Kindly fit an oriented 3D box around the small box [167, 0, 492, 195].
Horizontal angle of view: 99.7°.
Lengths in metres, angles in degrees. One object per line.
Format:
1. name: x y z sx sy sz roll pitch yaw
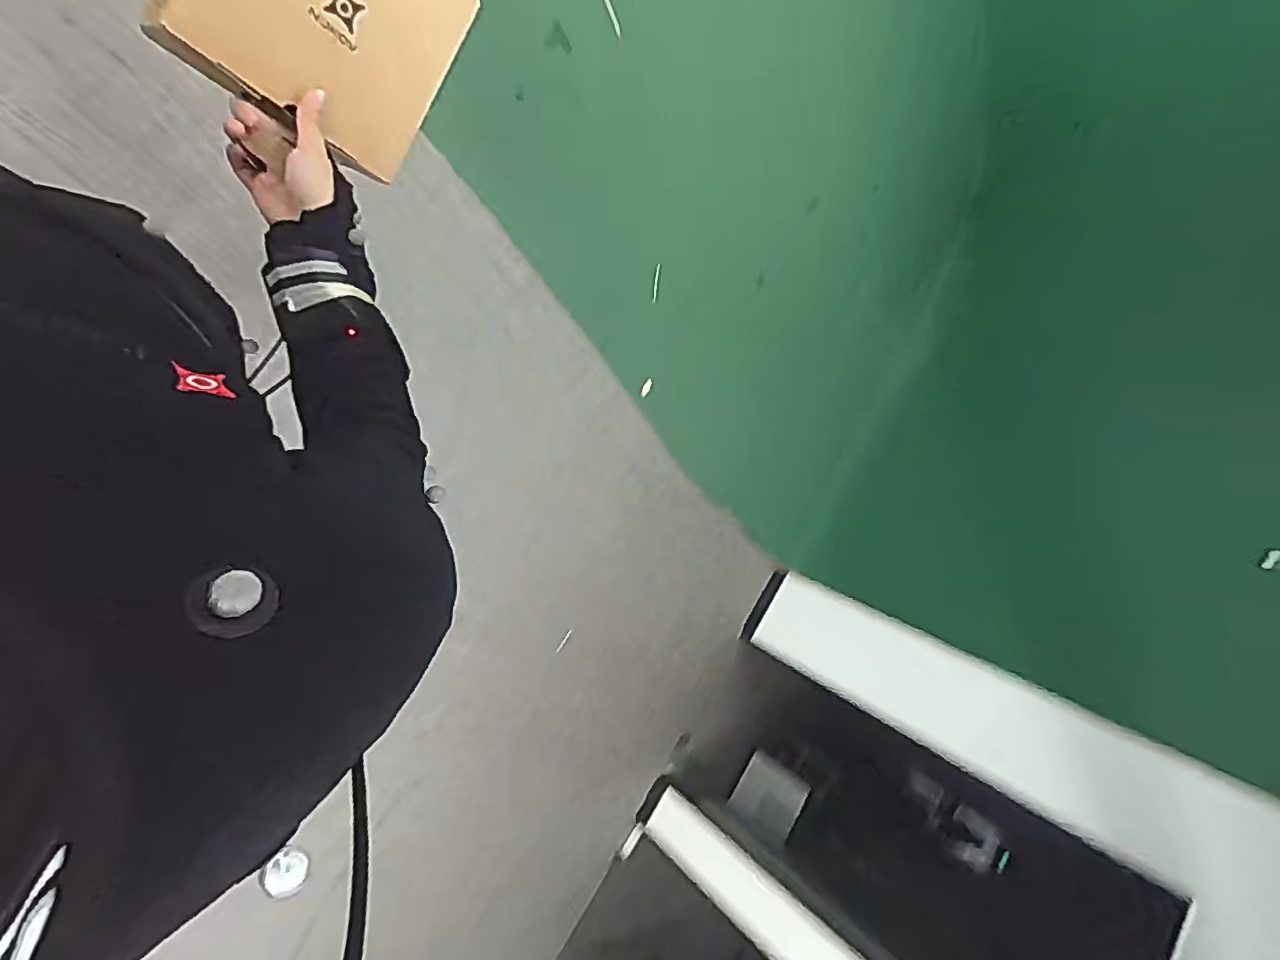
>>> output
1. small box: -0.268 -0.388 0.463 0.168 0.176 0.179 23 103 -52
